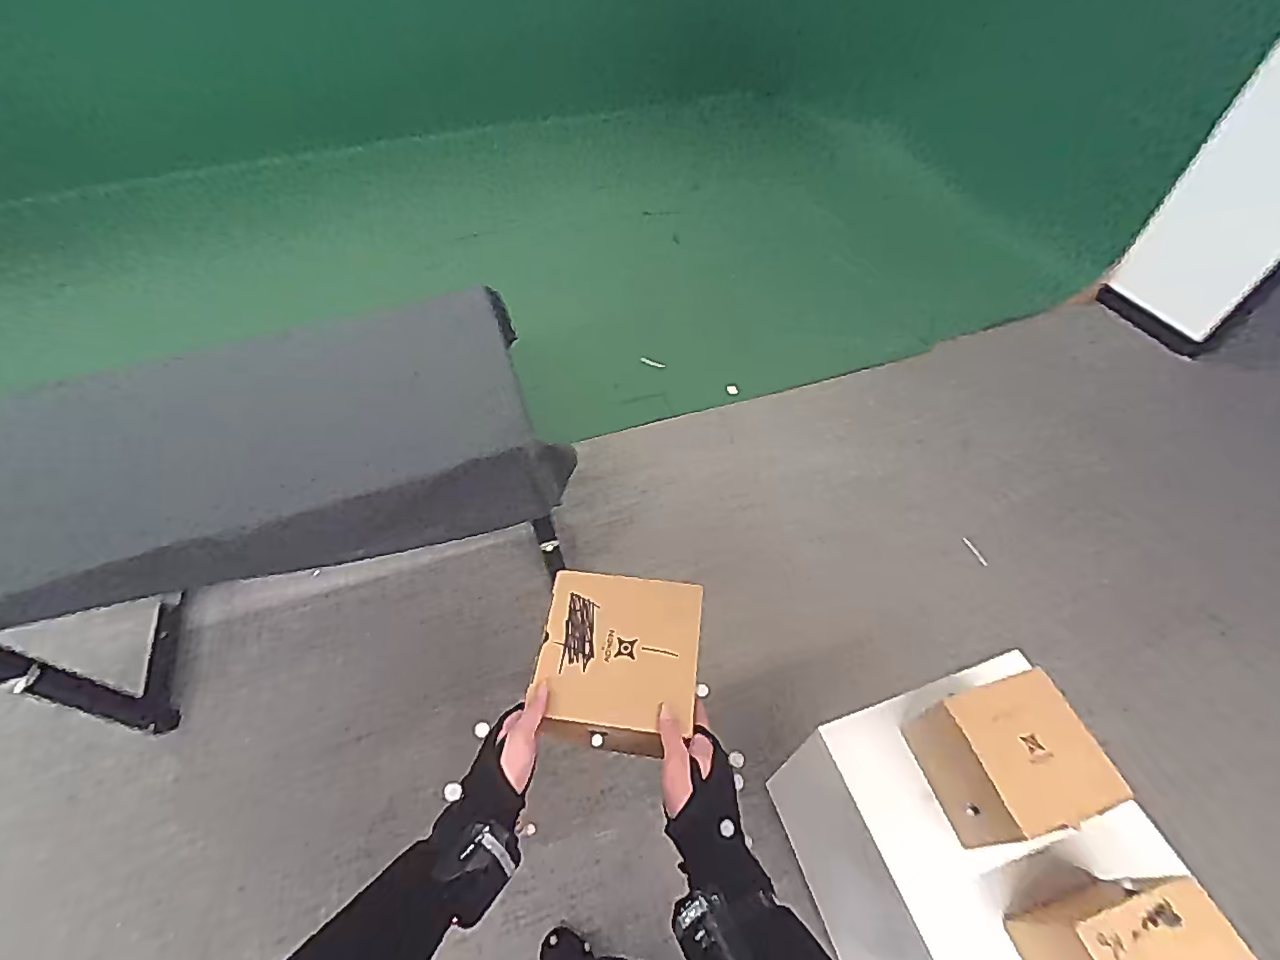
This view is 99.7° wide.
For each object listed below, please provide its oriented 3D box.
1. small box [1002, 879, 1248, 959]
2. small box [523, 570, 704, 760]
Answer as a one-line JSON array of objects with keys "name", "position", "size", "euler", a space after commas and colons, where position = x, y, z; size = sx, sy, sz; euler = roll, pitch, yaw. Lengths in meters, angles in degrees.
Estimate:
[{"name": "small box", "position": [0.585, 0.595, 0.633], "size": [0.168, 0.176, 0.179], "euler": [-13, 54, -10]}, {"name": "small box", "position": [-0.021, 0.225, 0.647], "size": [0.179, 0.176, 0.168], "euler": [6, 56, 5]}]
